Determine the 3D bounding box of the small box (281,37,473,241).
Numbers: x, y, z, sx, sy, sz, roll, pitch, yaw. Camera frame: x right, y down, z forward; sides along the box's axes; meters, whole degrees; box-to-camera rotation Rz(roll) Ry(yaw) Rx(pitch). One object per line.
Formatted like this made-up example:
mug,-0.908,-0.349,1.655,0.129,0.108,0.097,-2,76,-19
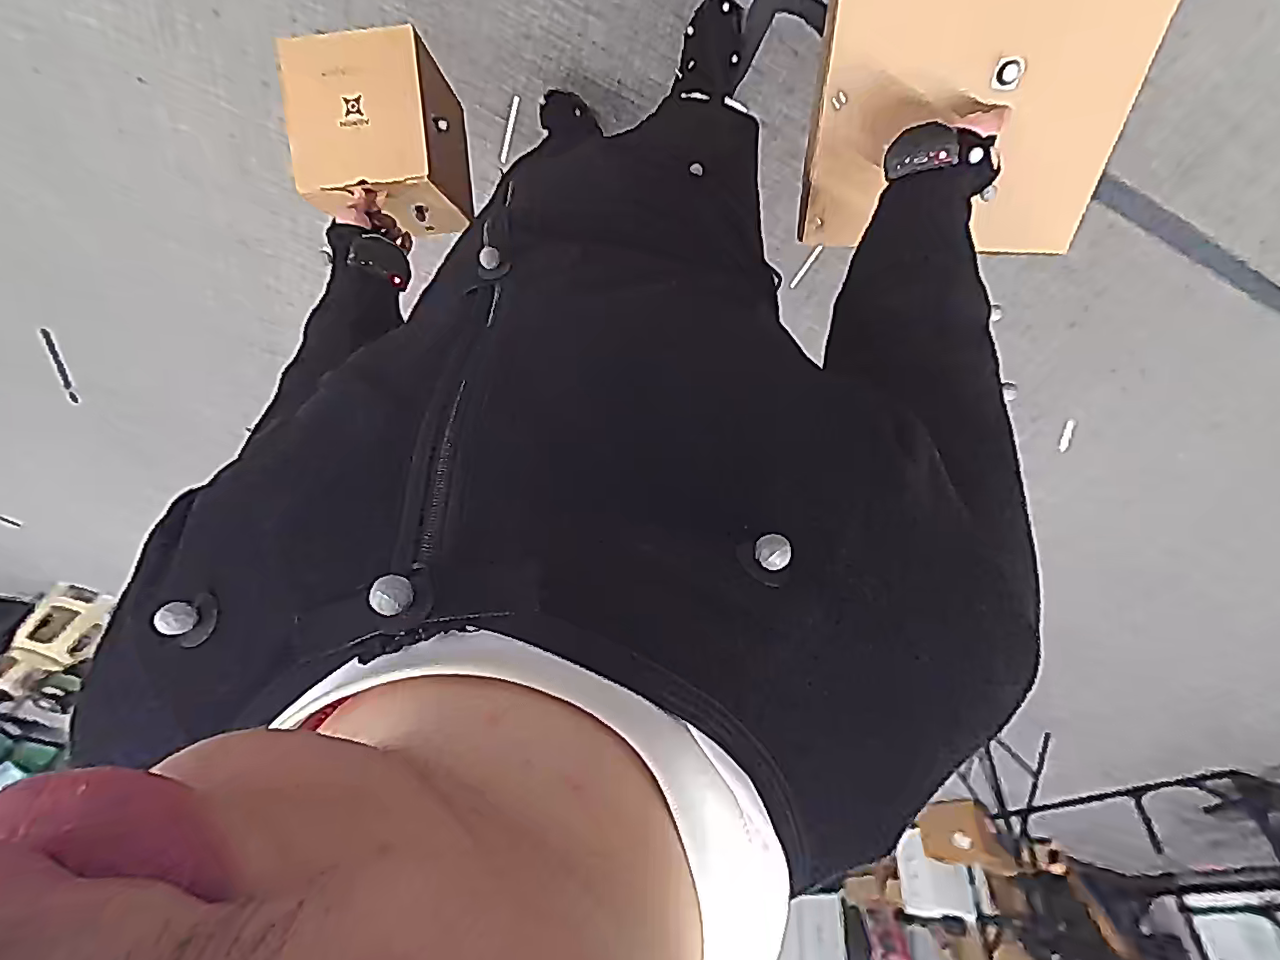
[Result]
small box,-0.335,-0.436,0.724,0.168,0.176,0.179,-5,95,2
